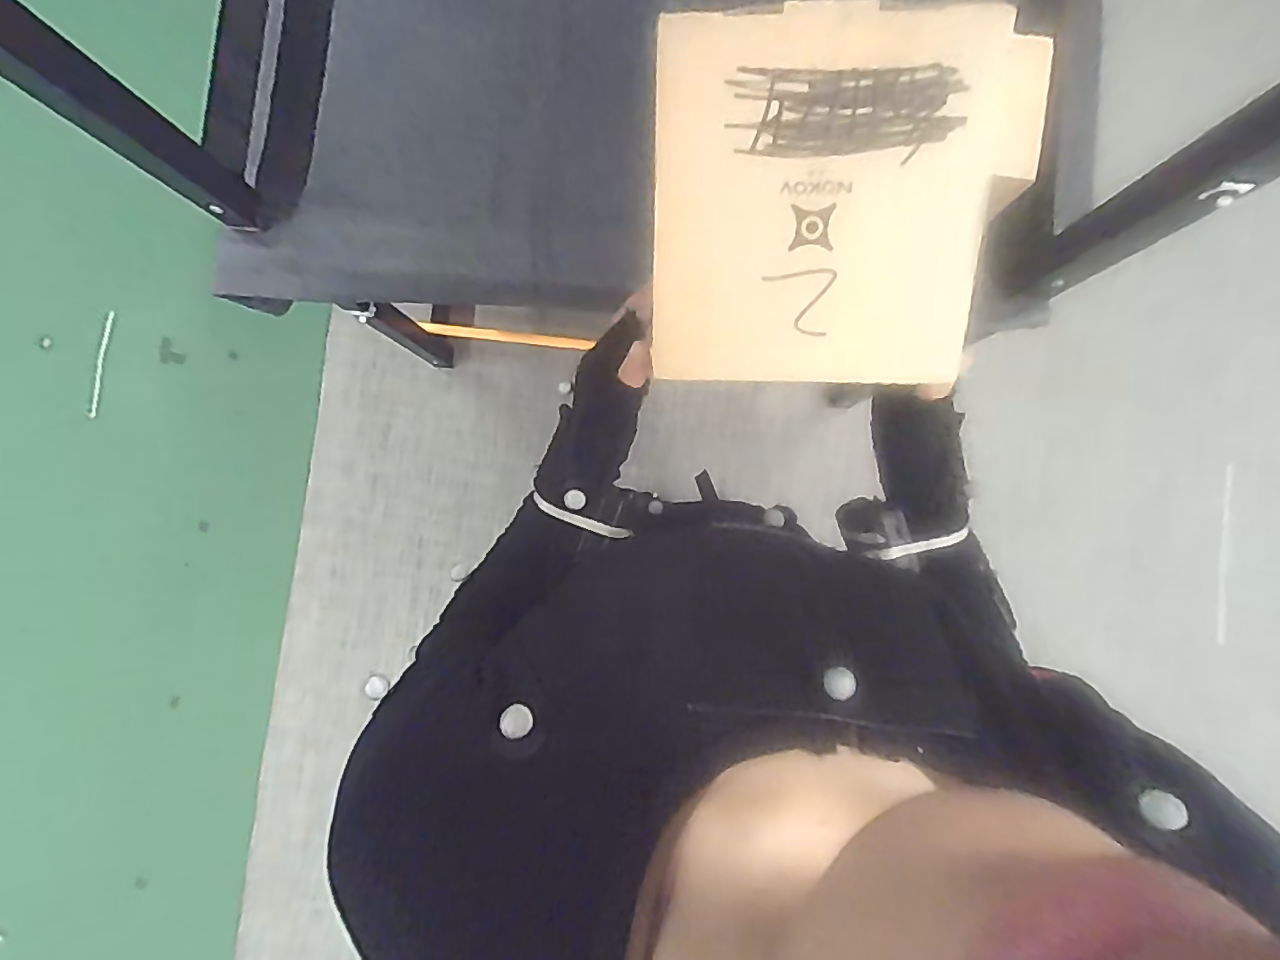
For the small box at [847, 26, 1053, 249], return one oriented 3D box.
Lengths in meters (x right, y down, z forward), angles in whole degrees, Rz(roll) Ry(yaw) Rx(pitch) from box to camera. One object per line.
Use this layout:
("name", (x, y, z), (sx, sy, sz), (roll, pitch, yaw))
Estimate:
("small box", (0.385, -0.427, 0.703), (0.168, 0.176, 0.179), (10, 86, 2))
